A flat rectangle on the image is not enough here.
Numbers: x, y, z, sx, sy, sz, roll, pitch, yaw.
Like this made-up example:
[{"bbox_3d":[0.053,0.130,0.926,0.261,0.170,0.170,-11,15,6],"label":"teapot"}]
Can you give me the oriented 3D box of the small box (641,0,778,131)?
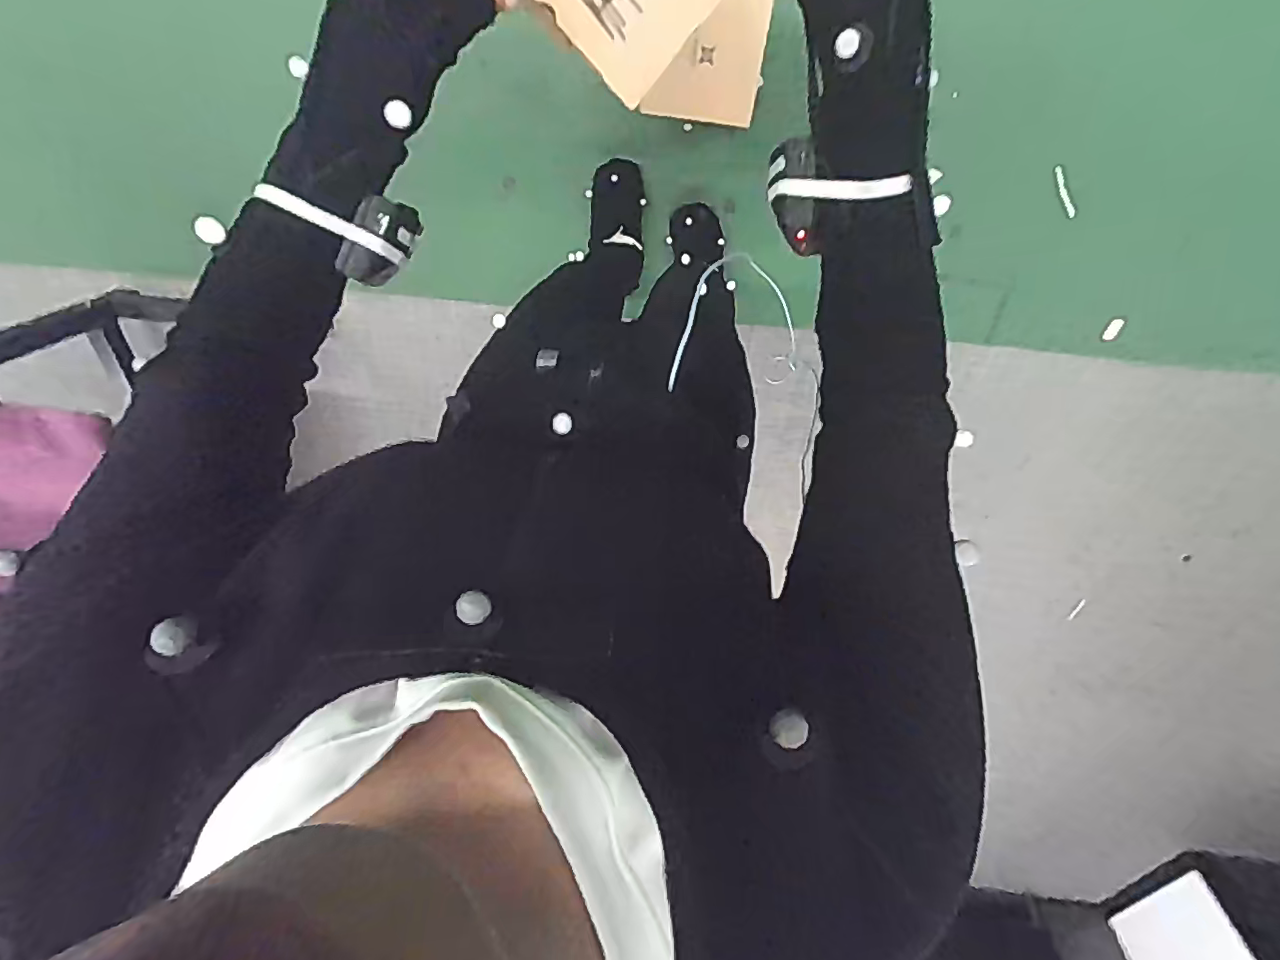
[{"bbox_3d":[0.102,-0.670,0.858,0.179,0.176,0.168,8,127,-1],"label":"small box"}]
